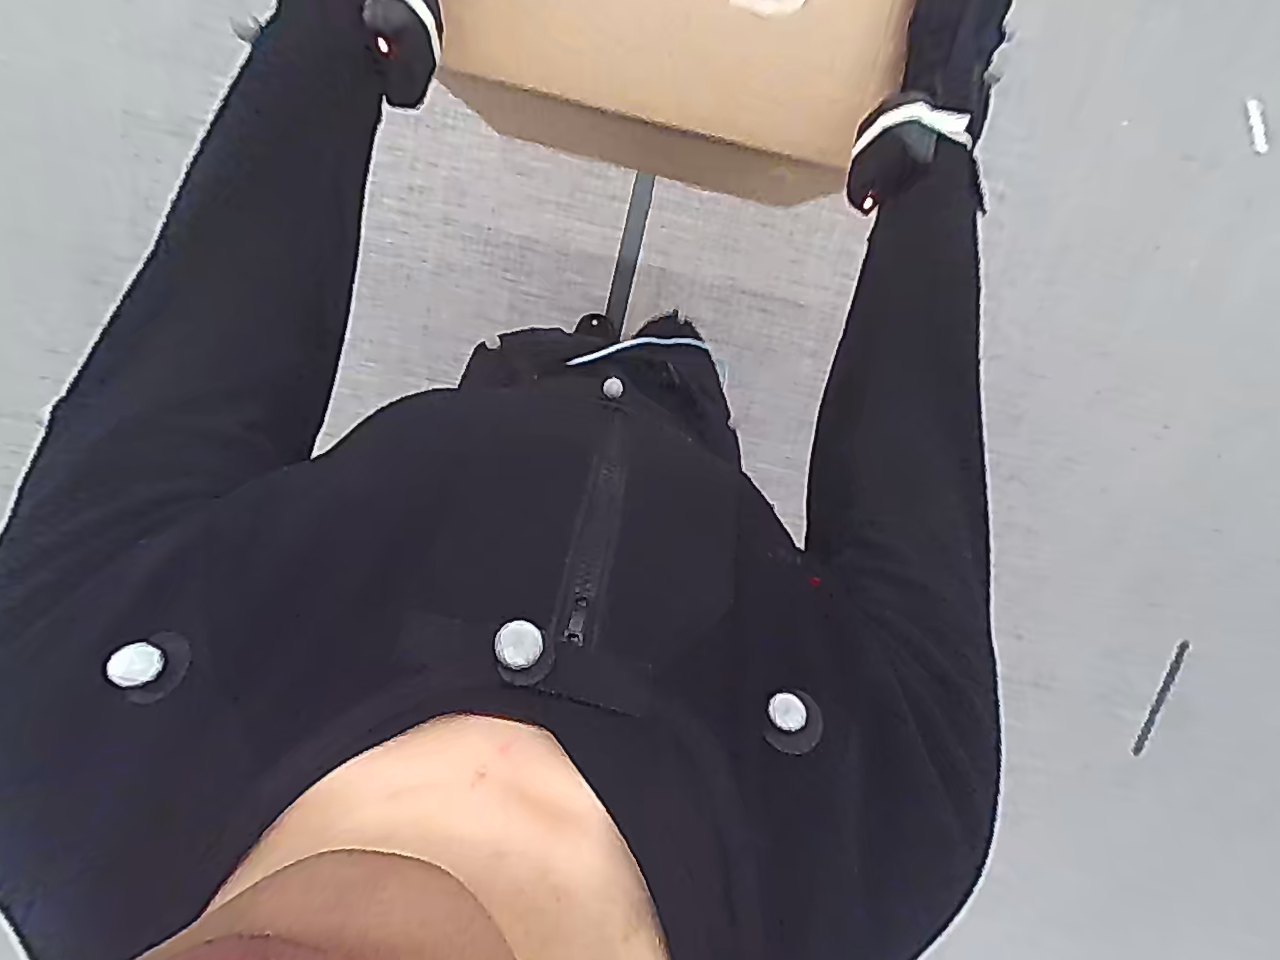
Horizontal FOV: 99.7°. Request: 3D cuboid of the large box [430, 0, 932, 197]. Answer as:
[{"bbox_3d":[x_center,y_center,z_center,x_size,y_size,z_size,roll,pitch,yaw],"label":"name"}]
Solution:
[{"bbox_3d":[0.045,-0.508,0.543,0.408,0.320,0.320,11,114,-6],"label":"large box"}]
